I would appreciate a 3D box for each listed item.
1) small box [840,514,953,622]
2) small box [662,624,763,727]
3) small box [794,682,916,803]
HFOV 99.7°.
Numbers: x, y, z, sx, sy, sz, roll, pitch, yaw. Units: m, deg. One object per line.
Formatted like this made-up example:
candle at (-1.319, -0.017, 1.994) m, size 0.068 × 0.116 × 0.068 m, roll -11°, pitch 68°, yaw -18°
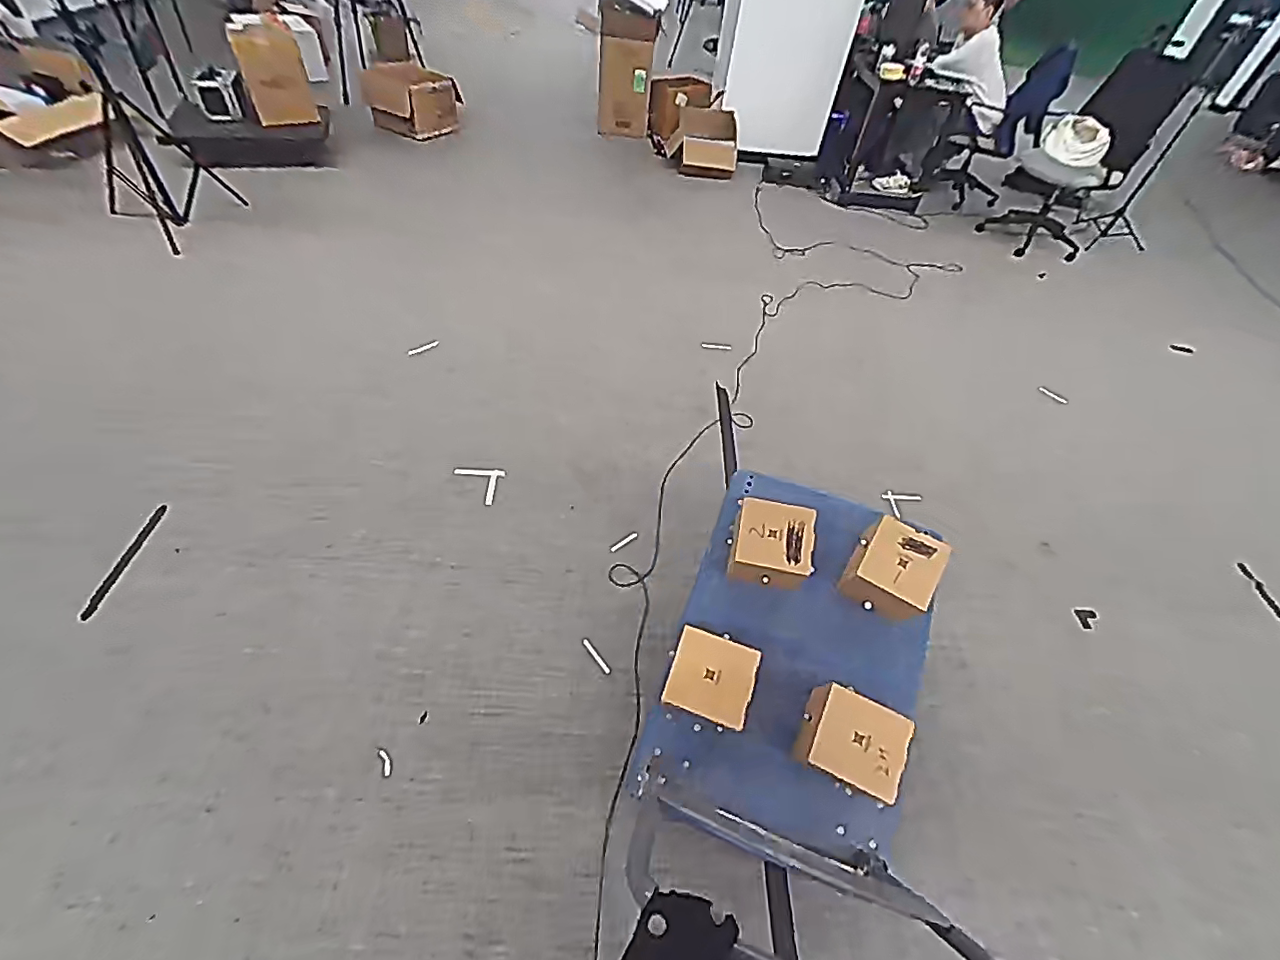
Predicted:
small box at (0.608, 0.217, 1.304) m, size 0.168 × 0.176 × 0.179 m, roll 30°, pitch 70°, yaw 14°
small box at (0.155, 0.443, 1.213) m, size 0.179 × 0.176 × 0.168 m, roll 19°, pitch 67°, yaw 8°
small box at (0.447, 0.555, 1.152) m, size 0.179 × 0.176 × 0.168 m, roll 24°, pitch 69°, yaw 13°
